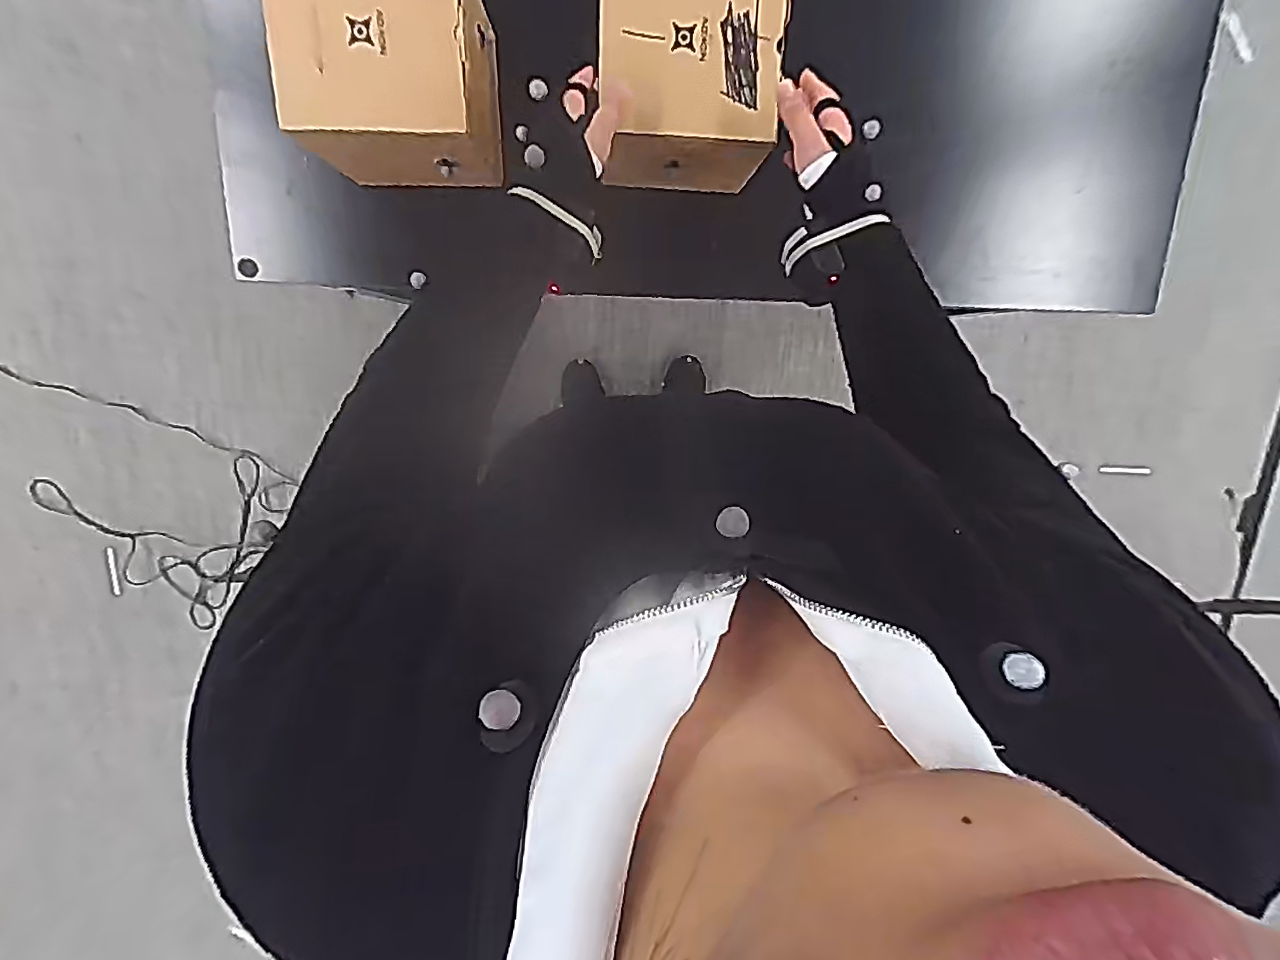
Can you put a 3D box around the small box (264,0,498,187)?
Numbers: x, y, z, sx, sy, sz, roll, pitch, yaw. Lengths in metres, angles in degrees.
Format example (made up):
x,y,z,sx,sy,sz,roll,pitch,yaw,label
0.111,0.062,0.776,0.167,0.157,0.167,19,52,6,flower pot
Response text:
x,y,z,sx,sy,sz,roll,pitch,yaw,label
-0.252,-0.423,0.568,0.179,0.176,0.168,-2,103,-2,small box

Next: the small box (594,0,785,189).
x,y,z,sx,sy,sz,roll,pitch,yaw,label
0.043,-0.427,0.580,0.179,0.176,0.168,2,103,-2,small box
